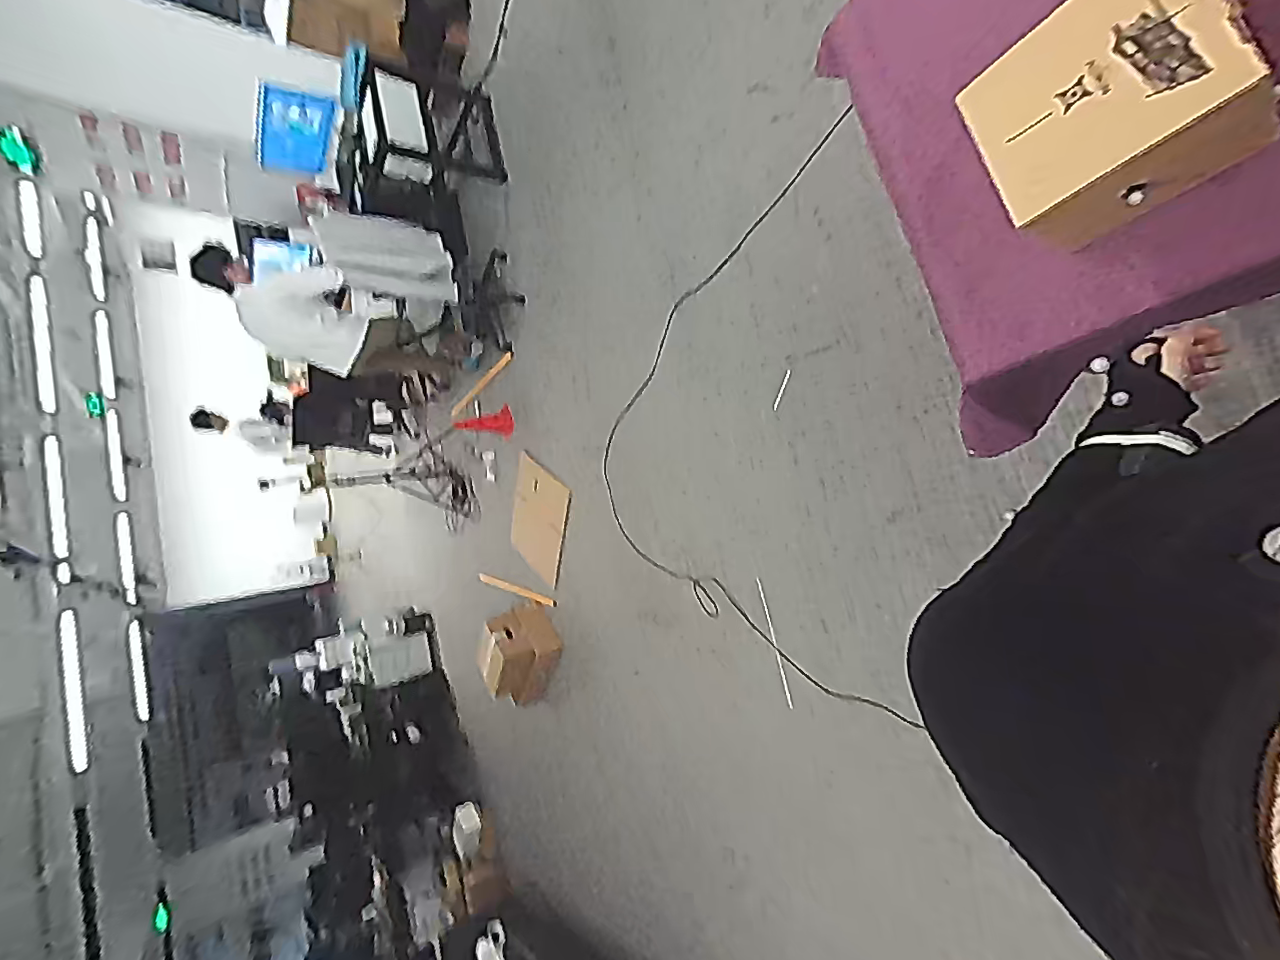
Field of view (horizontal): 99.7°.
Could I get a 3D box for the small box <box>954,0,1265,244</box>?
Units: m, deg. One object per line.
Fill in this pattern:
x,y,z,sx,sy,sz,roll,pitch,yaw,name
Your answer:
0.463,-0.365,0.537,0.179,0.176,0.168,-31,72,52,small box
